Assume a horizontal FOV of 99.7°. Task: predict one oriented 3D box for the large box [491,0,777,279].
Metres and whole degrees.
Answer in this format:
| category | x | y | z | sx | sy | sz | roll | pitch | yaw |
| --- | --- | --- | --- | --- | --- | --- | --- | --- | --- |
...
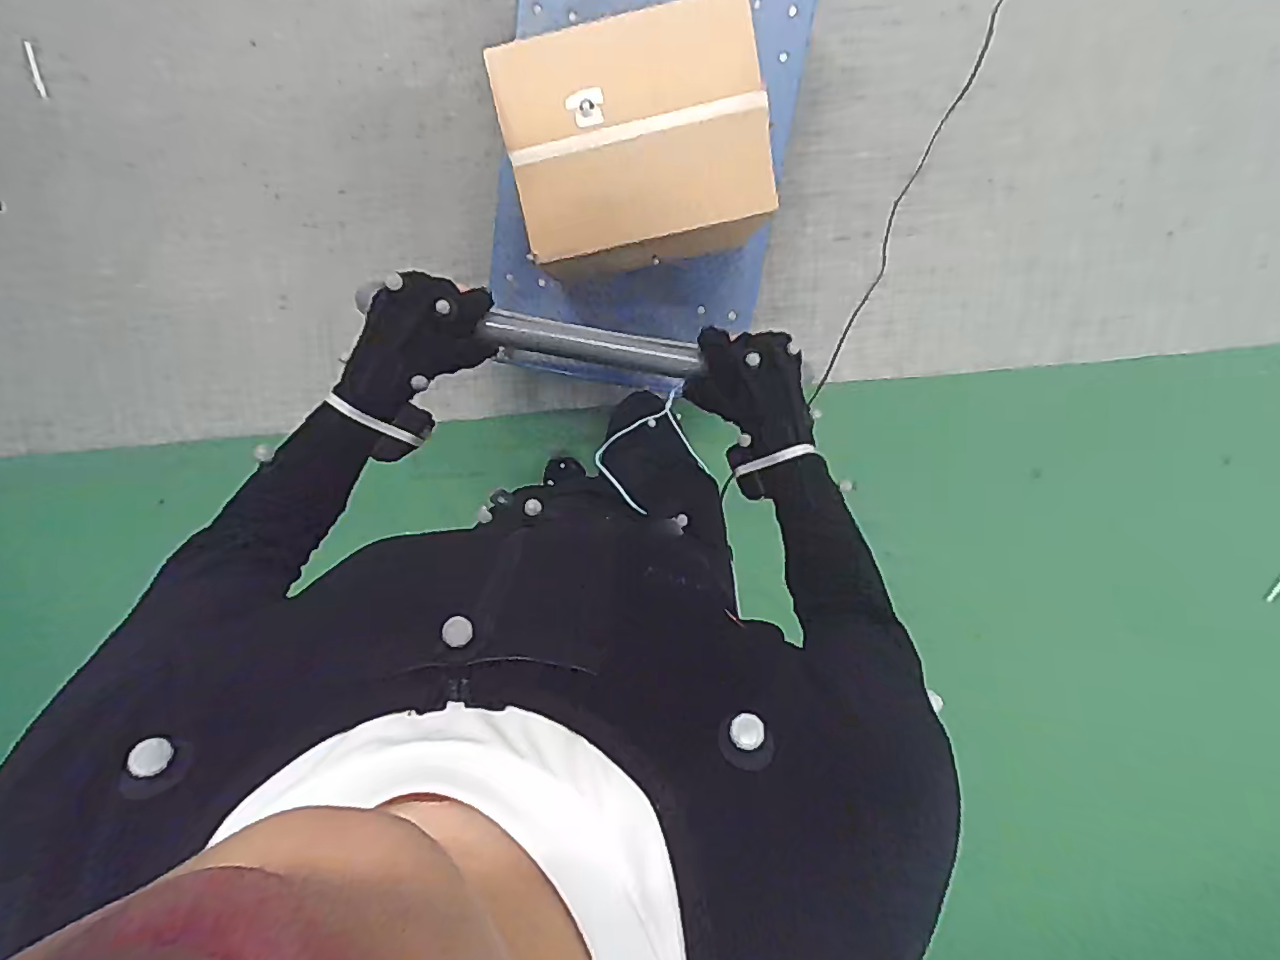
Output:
| category | x | y | z | sx | sy | sz | roll | pitch | yaw |
| --- | --- | --- | --- | --- | --- | --- | --- | --- | --- |
| large box | 0.000 | -0.582 | 0.988 | 0.408 | 0.320 | 0.320 | -11 | 103 | 4 |
